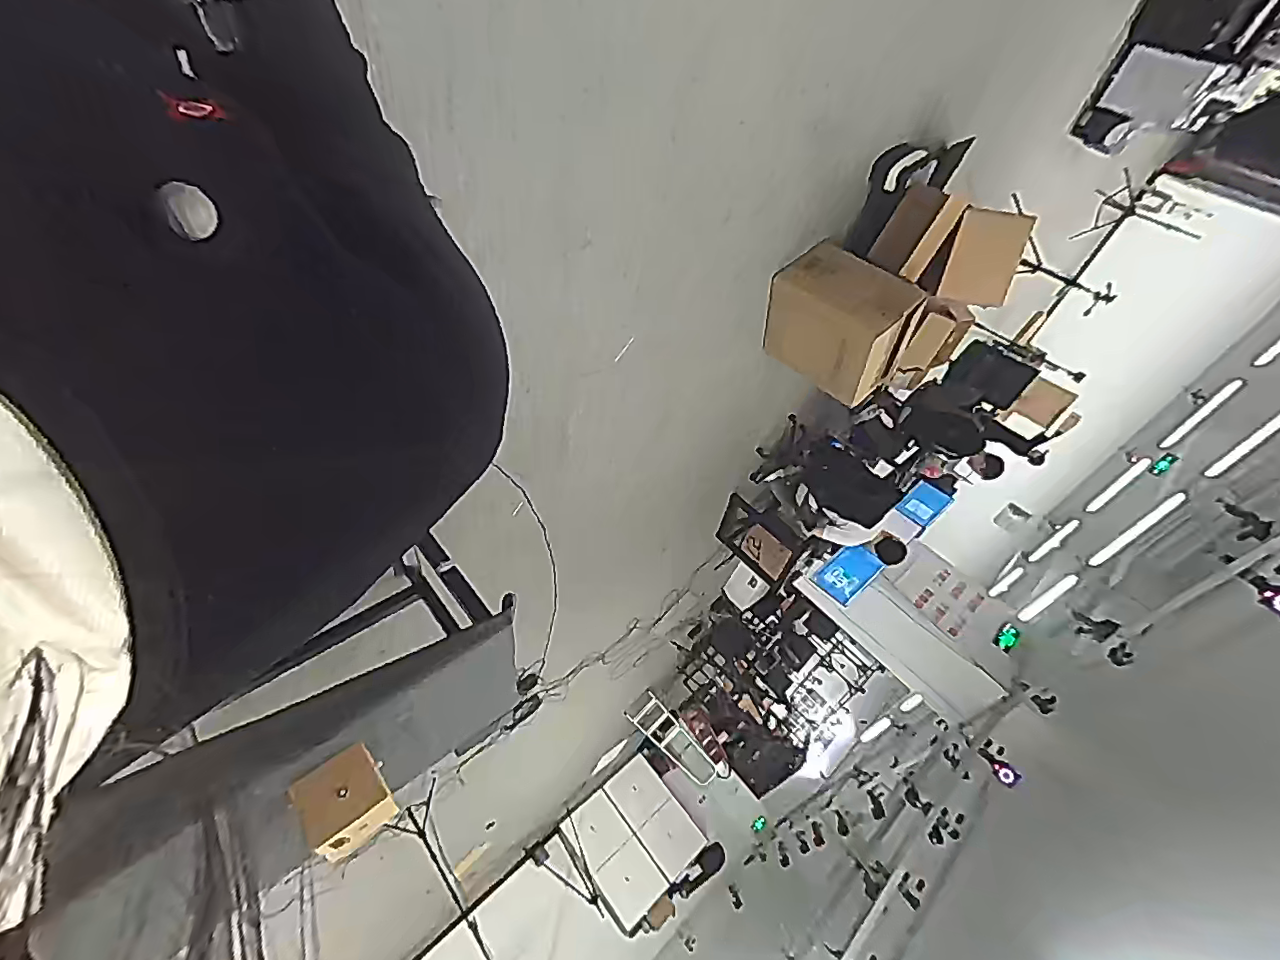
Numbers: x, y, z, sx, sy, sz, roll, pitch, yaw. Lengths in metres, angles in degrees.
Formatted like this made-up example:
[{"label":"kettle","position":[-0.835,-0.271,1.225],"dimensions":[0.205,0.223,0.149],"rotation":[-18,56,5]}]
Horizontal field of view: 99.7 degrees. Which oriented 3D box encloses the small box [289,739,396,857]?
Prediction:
[{"label":"small box","position":[-0.746,0.793,1.355],"dimensions":[0.179,0.176,0.168],"rotation":[-29,149,-29]}]
